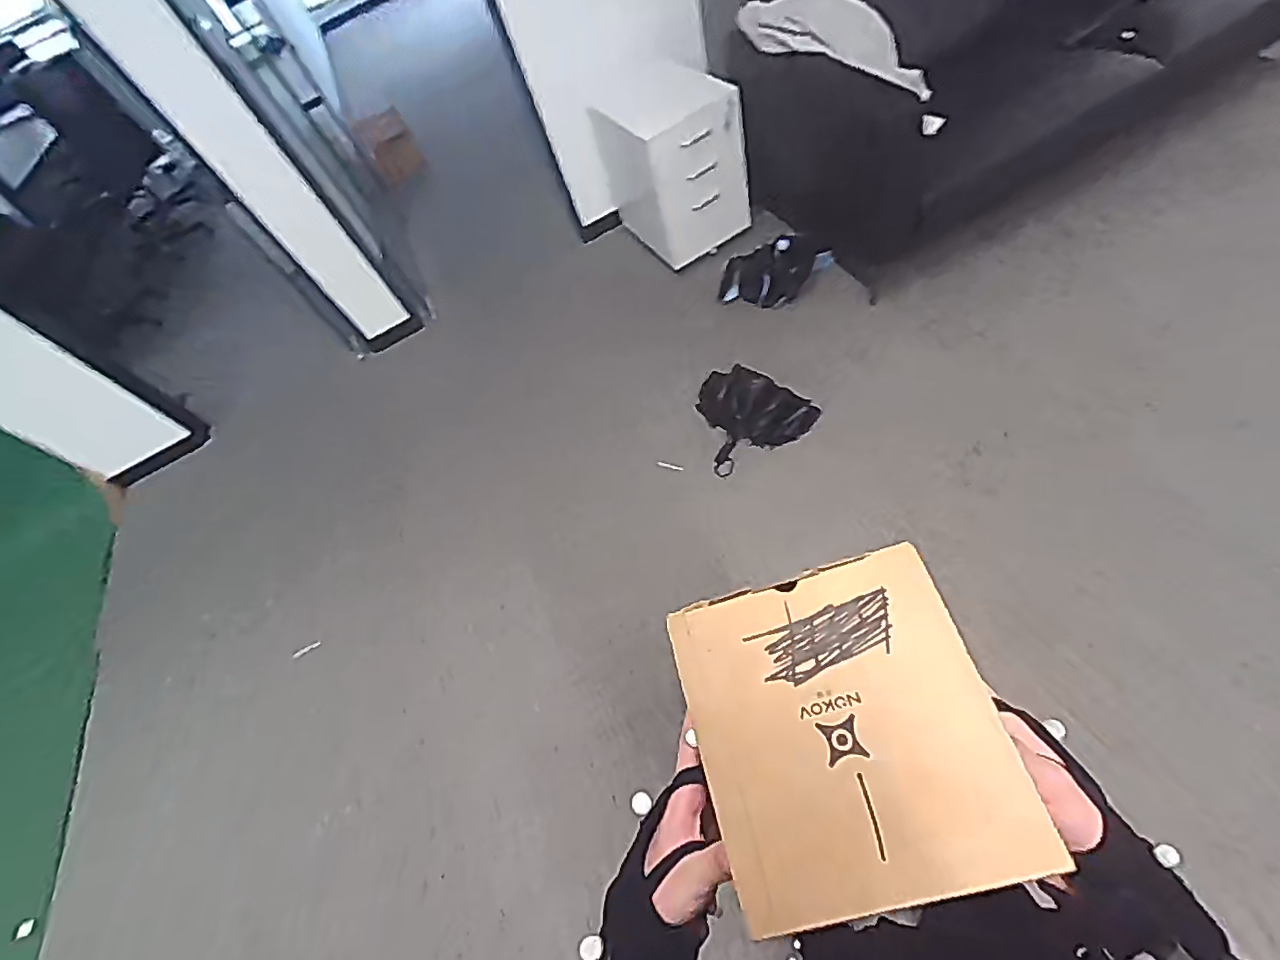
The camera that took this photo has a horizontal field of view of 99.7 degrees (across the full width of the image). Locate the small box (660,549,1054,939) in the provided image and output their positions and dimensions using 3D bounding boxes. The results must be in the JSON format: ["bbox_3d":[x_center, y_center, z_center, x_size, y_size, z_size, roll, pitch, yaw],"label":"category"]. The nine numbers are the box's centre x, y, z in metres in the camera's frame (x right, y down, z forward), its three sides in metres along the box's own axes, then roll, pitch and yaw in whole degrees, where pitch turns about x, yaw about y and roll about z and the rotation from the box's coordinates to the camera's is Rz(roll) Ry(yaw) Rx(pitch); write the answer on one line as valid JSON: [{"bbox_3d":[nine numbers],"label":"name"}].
[{"bbox_3d":[0.126,0.173,0.380,0.168,0.176,0.179,-19,63,7],"label":"small box"}]
